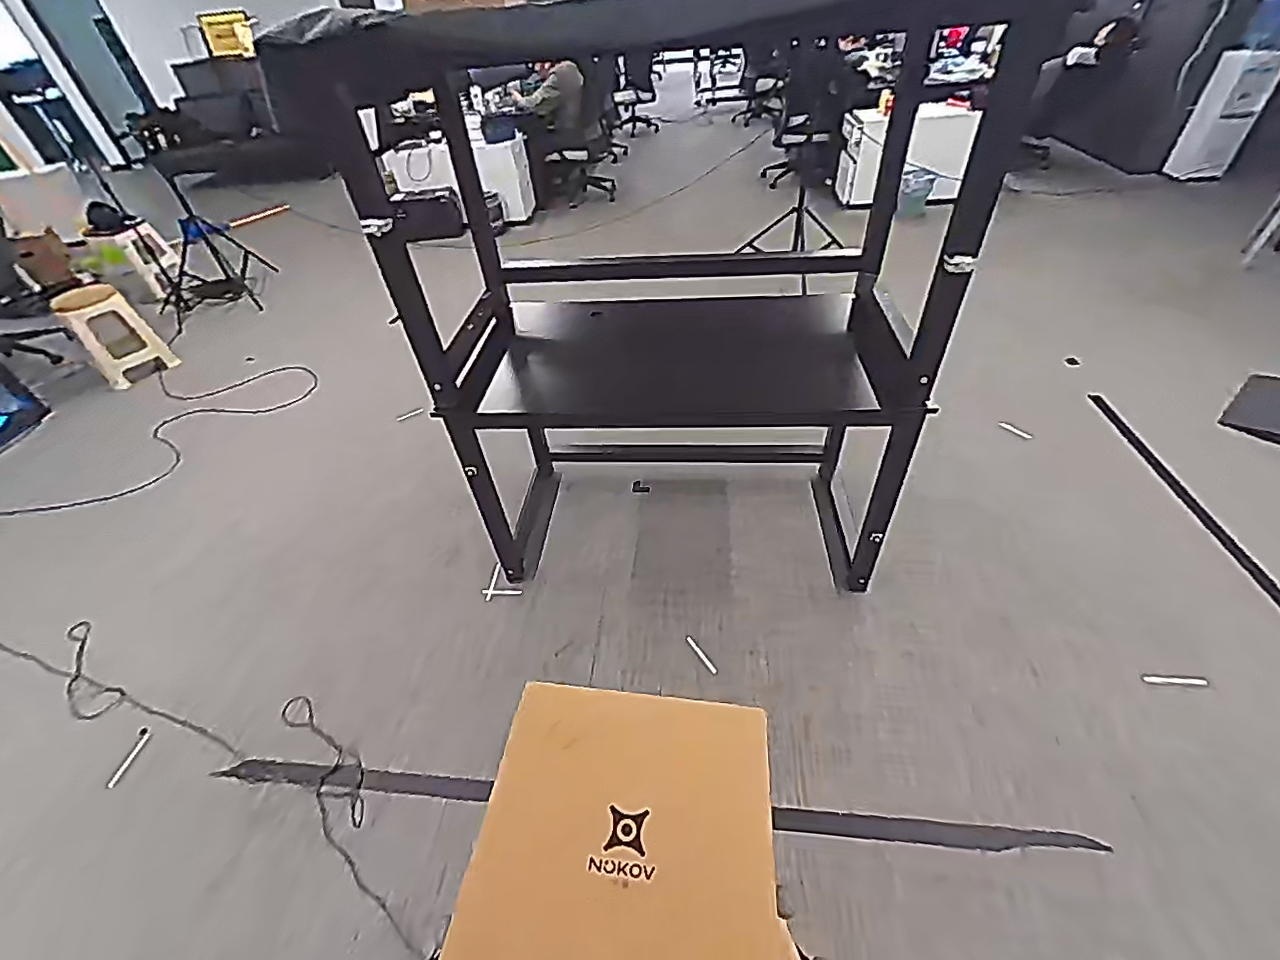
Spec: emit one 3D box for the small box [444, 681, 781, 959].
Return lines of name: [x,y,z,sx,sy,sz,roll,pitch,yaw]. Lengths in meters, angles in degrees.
small box: [-0.007,0.263,0.352,0.168,0.176,0.179,4,40,5]
